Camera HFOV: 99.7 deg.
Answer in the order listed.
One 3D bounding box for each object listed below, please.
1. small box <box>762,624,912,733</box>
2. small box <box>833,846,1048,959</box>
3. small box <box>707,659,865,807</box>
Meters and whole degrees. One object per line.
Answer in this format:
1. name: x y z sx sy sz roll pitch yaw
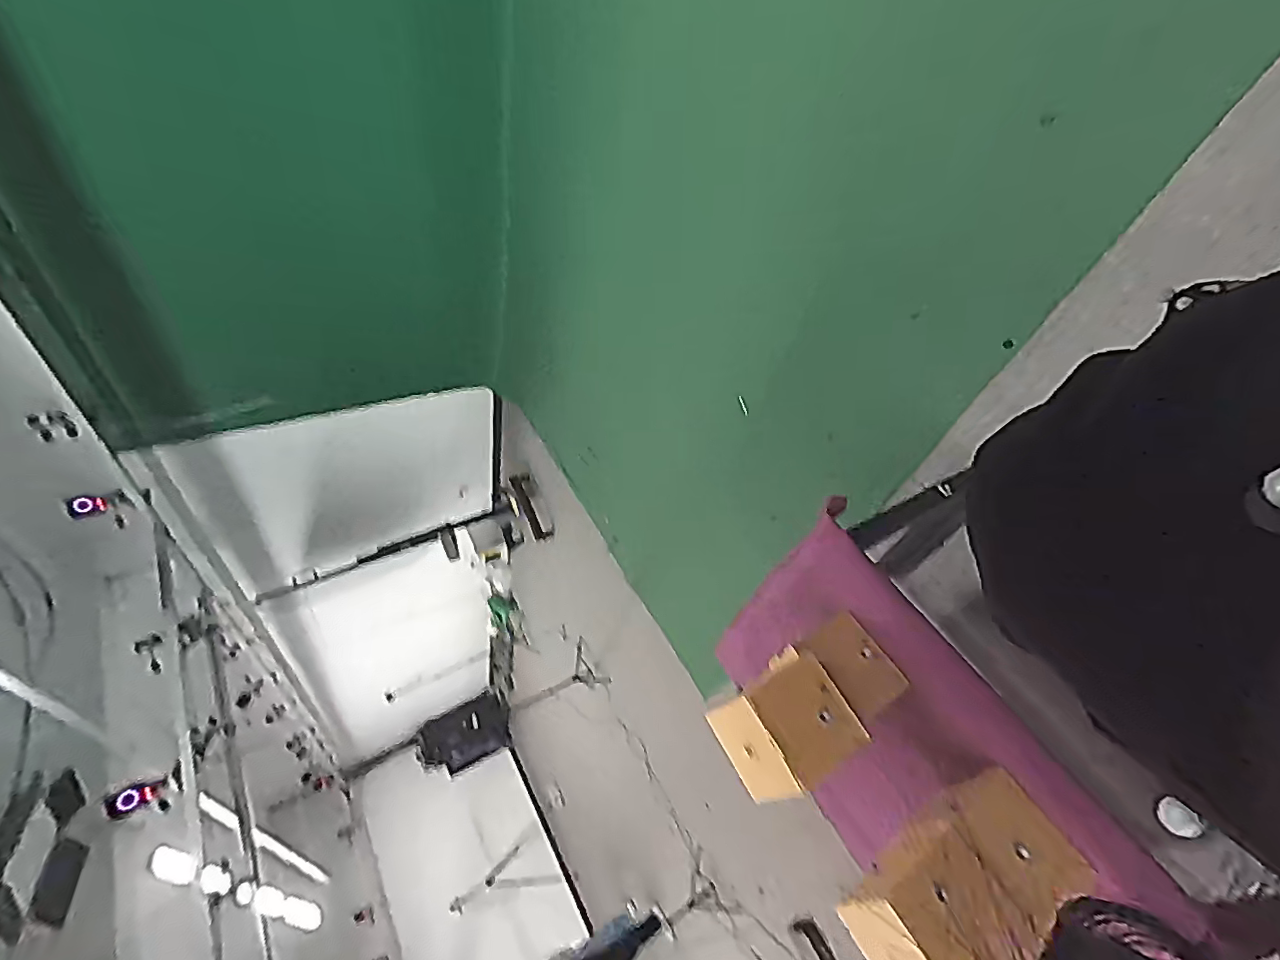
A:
1. small box: 0.379 0.404 1.055 0.179 0.176 0.168 54 147 30
2. small box: 0.424 0.659 0.775 0.179 0.176 0.168 54 147 29
3. small box: 0.254 0.445 0.955 0.168 0.176 0.179 58 147 23
